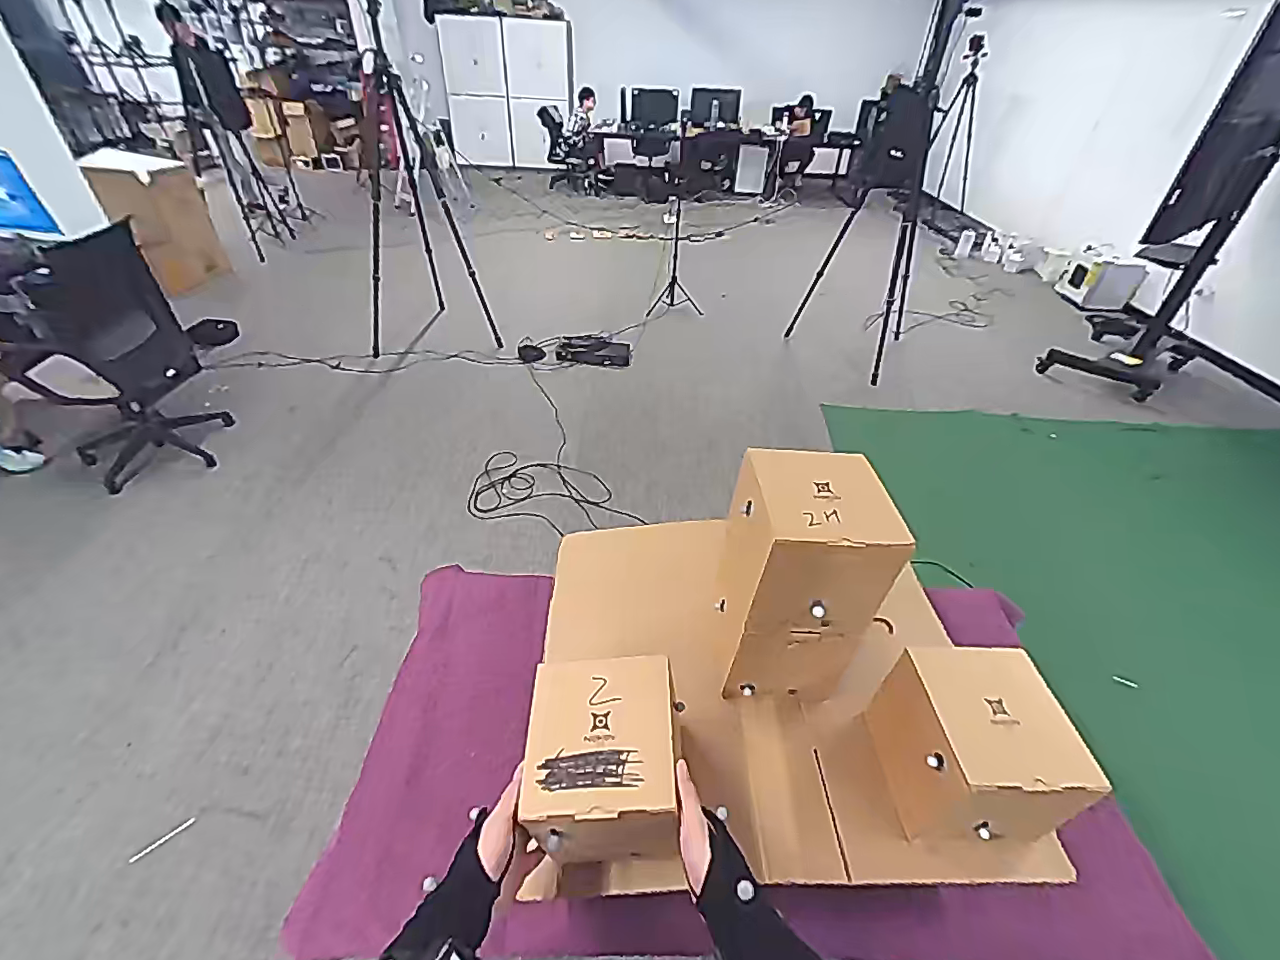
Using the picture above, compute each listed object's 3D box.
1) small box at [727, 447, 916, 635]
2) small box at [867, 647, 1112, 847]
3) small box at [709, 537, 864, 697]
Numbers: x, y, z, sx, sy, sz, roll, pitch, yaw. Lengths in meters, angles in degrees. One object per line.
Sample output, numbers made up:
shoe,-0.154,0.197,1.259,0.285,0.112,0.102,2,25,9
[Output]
small box,0.219,0.079,0.712,0.168,0.176,0.179,3,40,-4
small box,0.418,0.337,0.688,0.168,0.176,0.179,3,40,-4
small box,0.205,0.207,0.814,0.168,0.176,0.179,3,39,-5
